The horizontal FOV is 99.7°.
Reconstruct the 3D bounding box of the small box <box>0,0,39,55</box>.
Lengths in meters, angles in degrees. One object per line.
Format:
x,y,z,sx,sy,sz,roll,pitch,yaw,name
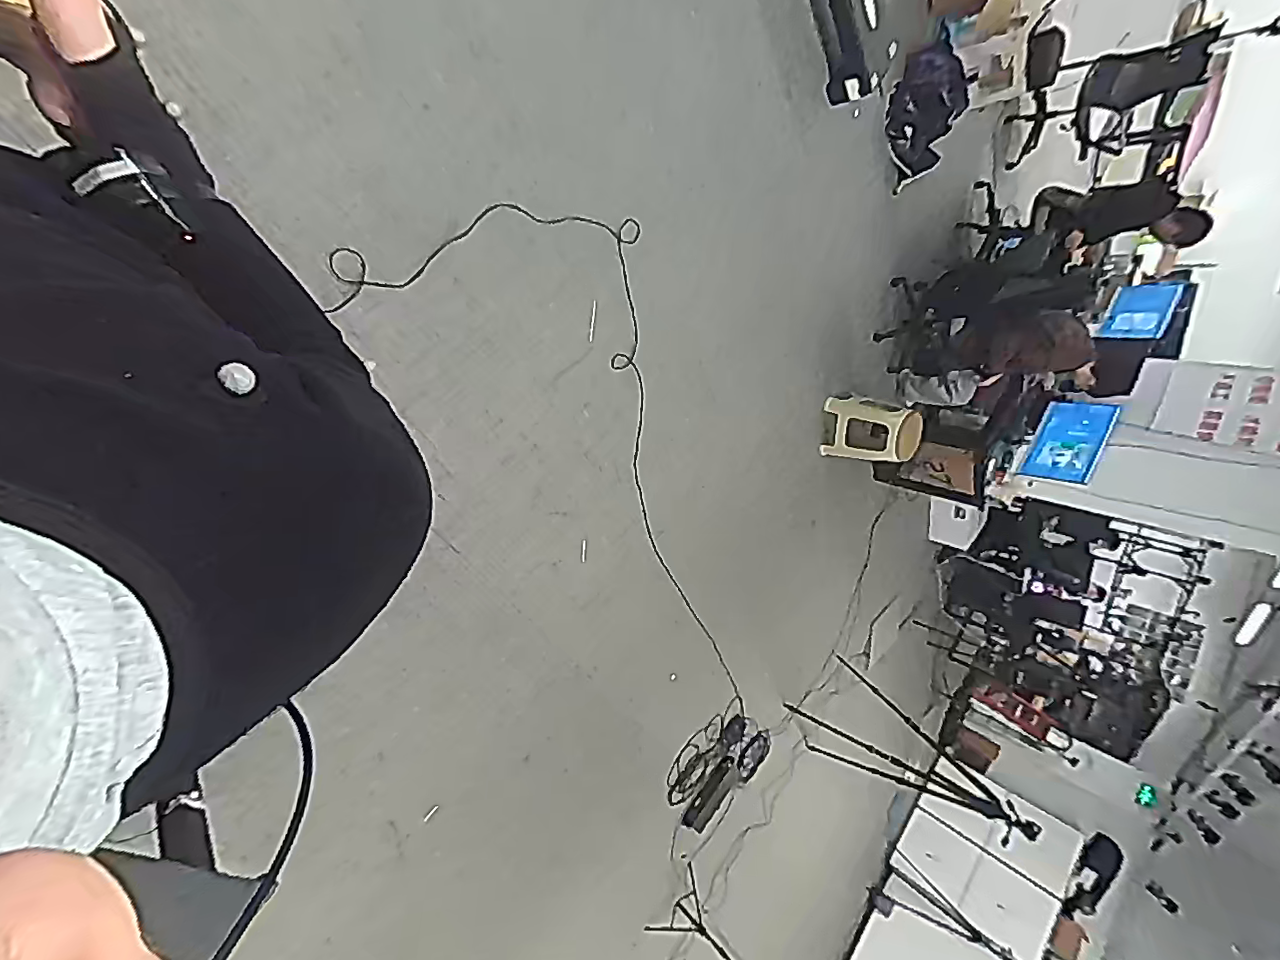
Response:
-0.430,-0.332,0.253,0.179,0.176,0.168,-14,118,-43,small box
